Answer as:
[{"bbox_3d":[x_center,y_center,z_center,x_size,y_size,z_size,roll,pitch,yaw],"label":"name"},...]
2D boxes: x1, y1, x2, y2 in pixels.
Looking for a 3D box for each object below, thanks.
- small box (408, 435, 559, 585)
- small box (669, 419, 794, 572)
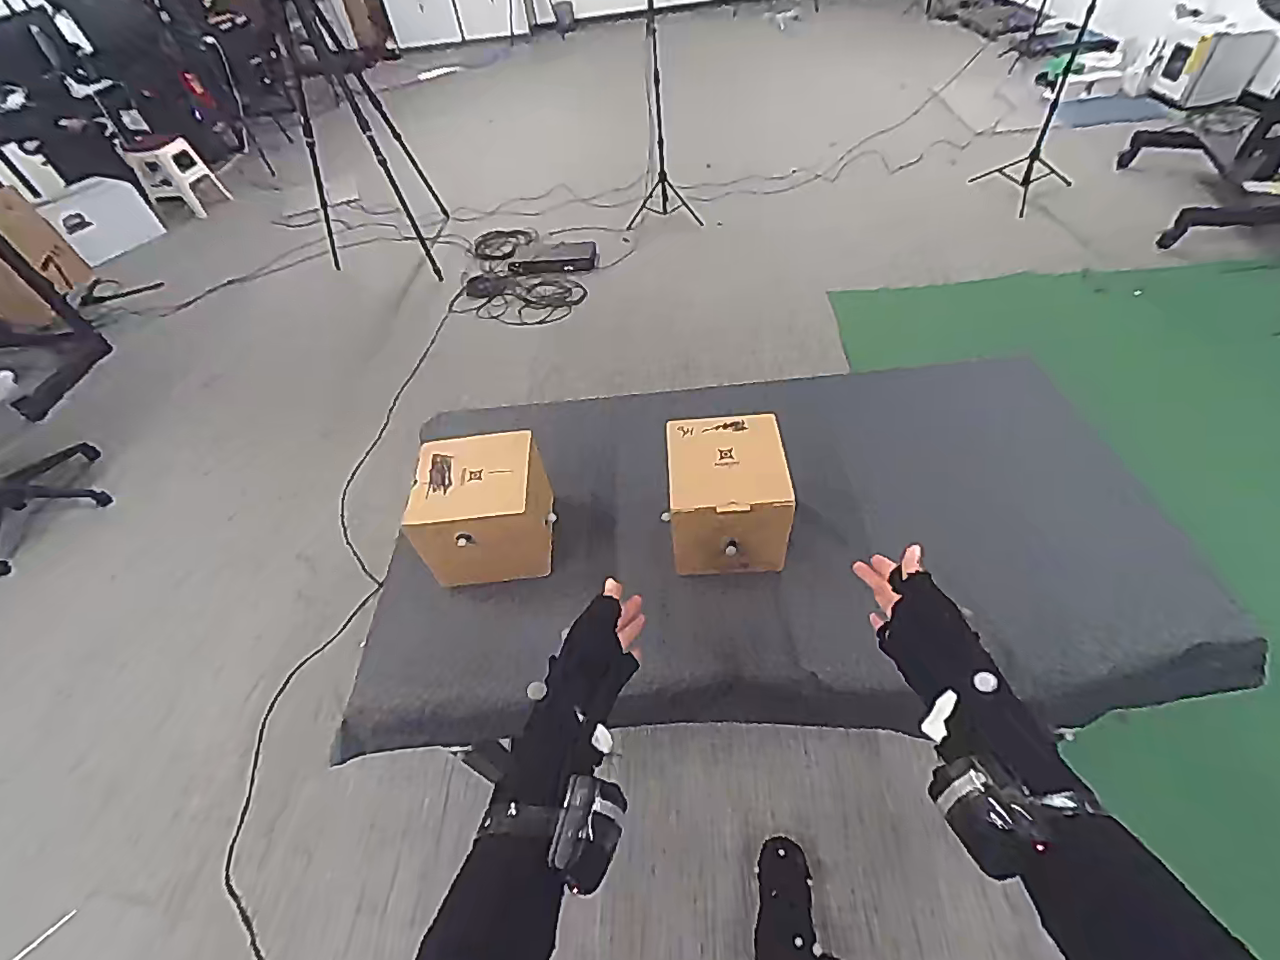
[{"bbox_3d":[-0.235,0.052,0.858,0.179,0.176,0.168,-6,49,1],"label":"small box"},{"bbox_3d":[0.133,0.030,0.830,0.168,0.176,0.179,-4,49,5],"label":"small box"}]
